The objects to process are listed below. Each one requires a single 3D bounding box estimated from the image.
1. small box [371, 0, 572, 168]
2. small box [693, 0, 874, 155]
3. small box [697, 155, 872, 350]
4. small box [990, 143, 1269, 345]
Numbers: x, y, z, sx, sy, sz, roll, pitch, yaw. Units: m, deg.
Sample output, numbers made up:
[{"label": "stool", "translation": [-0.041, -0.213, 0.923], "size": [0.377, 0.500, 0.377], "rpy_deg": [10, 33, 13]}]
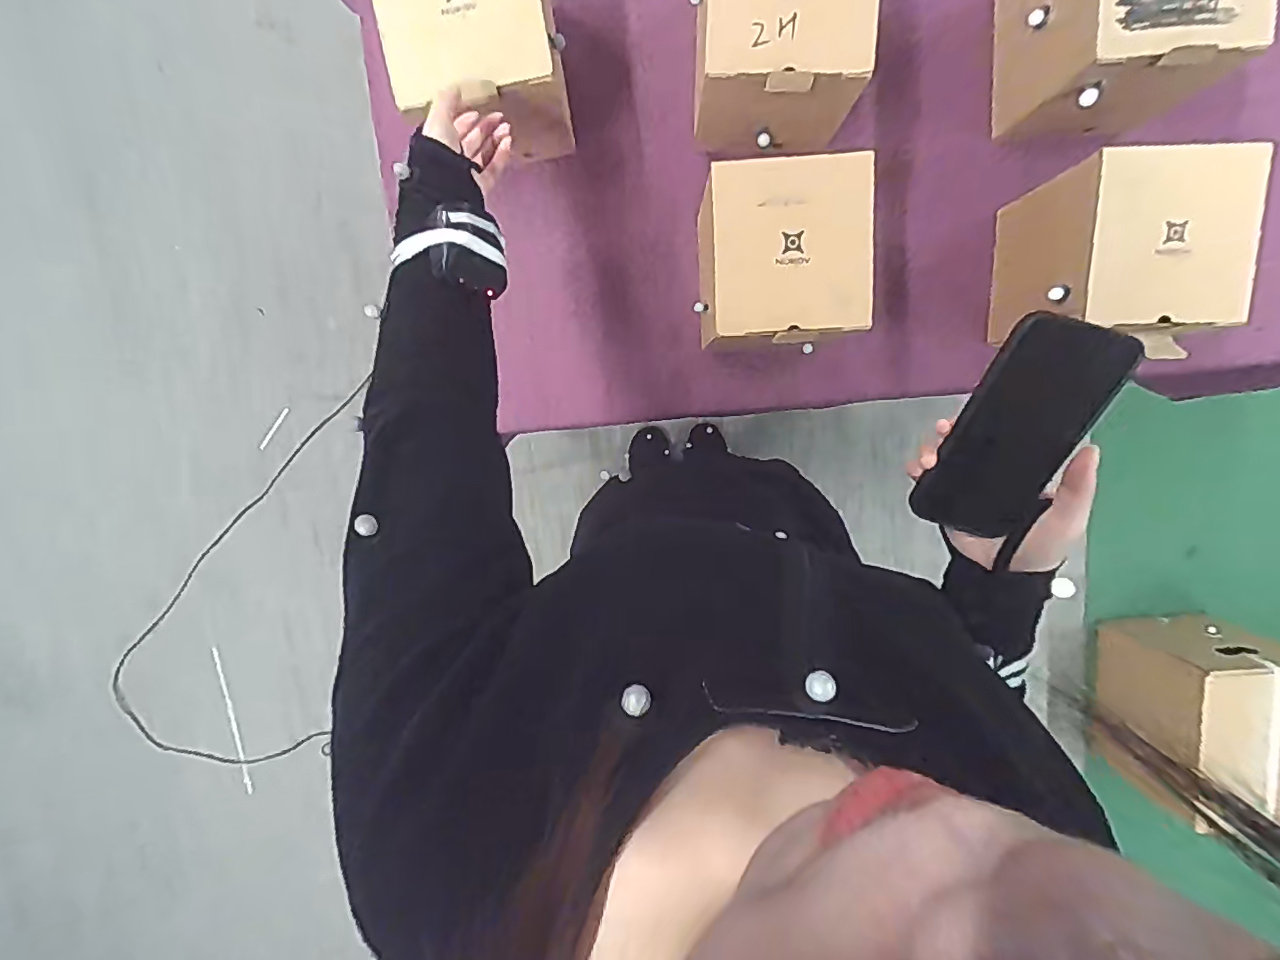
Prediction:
[{"label": "small box", "translation": [-0.180, -0.480, 0.612], "size": [0.168, 0.176, 0.179], "rpy_deg": [-10, 99, 2]}, {"label": "small box", "translation": [0.147, -0.493, 0.599], "size": [0.168, 0.176, 0.179], "rpy_deg": [2, 99, 2]}, {"label": "small box", "translation": [0.157, -0.248, 0.635], "size": [0.168, 0.176, 0.179], "rpy_deg": [-3, 97, 2]}, {"label": "small box", "translation": [0.536, -0.254, 0.621], "size": [0.168, 0.176, 0.179], "rpy_deg": [0, 98, 2]}]
